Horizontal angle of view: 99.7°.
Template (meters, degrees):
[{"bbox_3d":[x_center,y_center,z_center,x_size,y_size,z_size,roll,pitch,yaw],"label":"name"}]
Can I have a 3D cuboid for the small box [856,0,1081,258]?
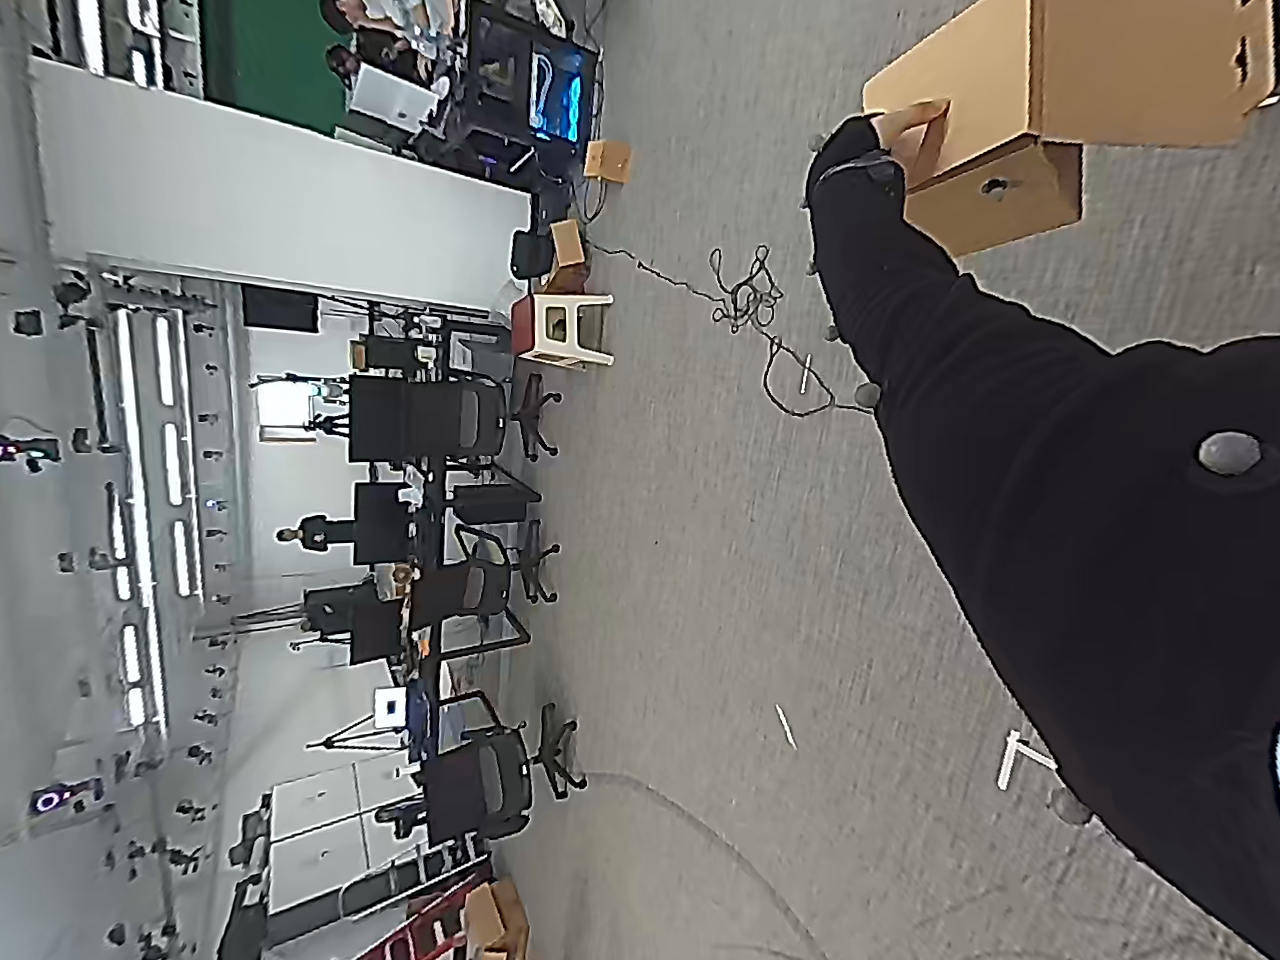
[{"bbox_3d":[0.369,-0.379,0.607,0.179,0.176,0.168,0,83,50],"label":"small box"}]
